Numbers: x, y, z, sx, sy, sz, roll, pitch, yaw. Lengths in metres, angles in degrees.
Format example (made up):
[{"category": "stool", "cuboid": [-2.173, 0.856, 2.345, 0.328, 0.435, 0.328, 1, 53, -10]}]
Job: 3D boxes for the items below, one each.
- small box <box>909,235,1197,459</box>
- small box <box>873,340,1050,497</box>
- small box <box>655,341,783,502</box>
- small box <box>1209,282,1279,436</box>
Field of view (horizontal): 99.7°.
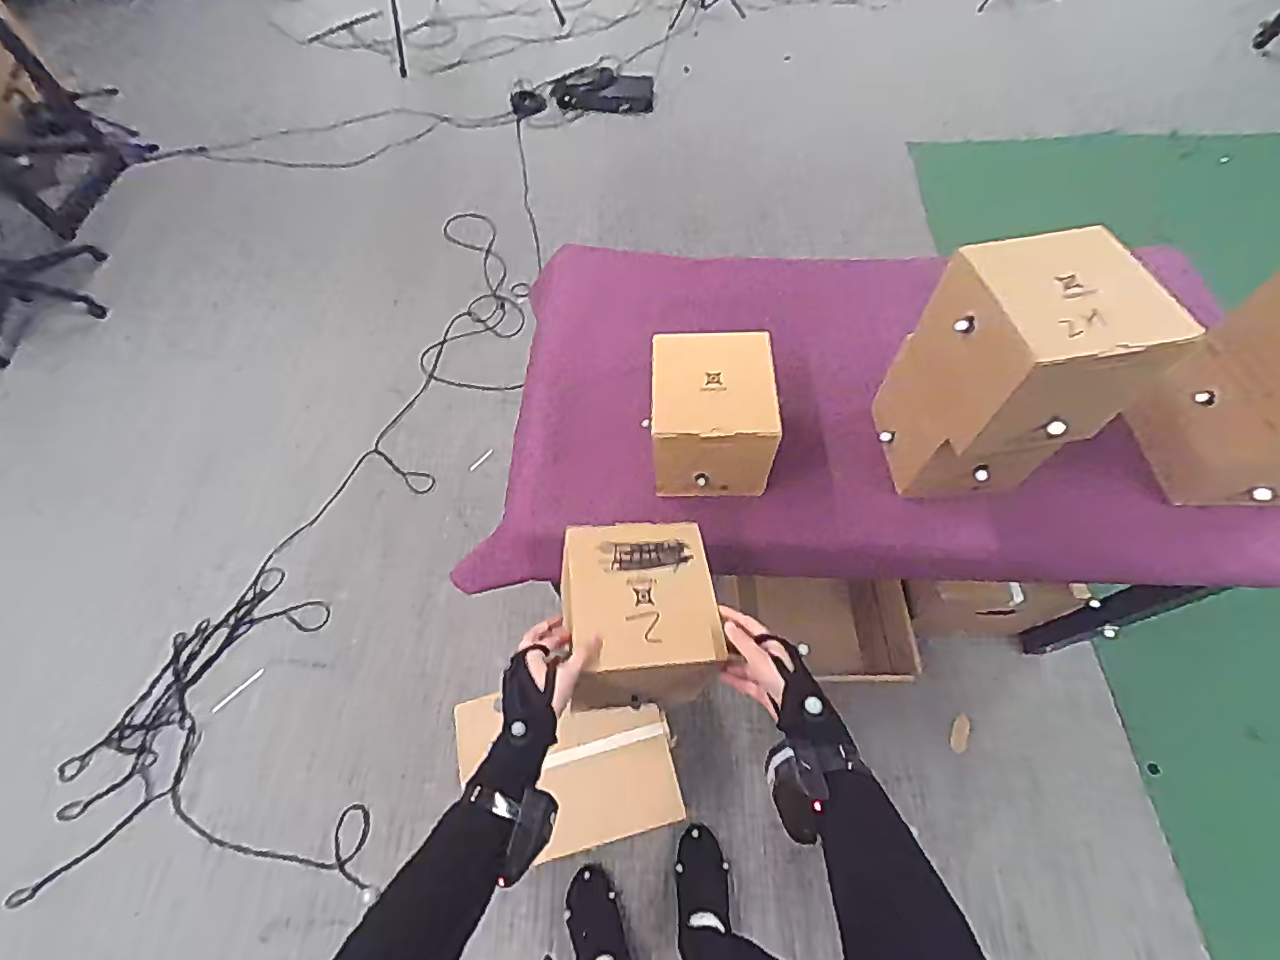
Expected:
[{"category": "small box", "cuboid": [0.444, -0.148, 0.624, 0.168, 0.176, 0.179, -9, 59, -1]}, {"category": "small box", "cuboid": [0.460, -0.084, 0.777, 0.168, 0.176, 0.179, -3, 59, 1]}, {"category": "small box", "cuboid": [0.105, -0.084, 0.801, 0.168, 0.176, 0.179, -1, 60, 3]}, {"category": "small box", "cuboid": [0.825, -0.156, 0.607, 0.168, 0.176, 0.179, -3, 58, 3]}]
